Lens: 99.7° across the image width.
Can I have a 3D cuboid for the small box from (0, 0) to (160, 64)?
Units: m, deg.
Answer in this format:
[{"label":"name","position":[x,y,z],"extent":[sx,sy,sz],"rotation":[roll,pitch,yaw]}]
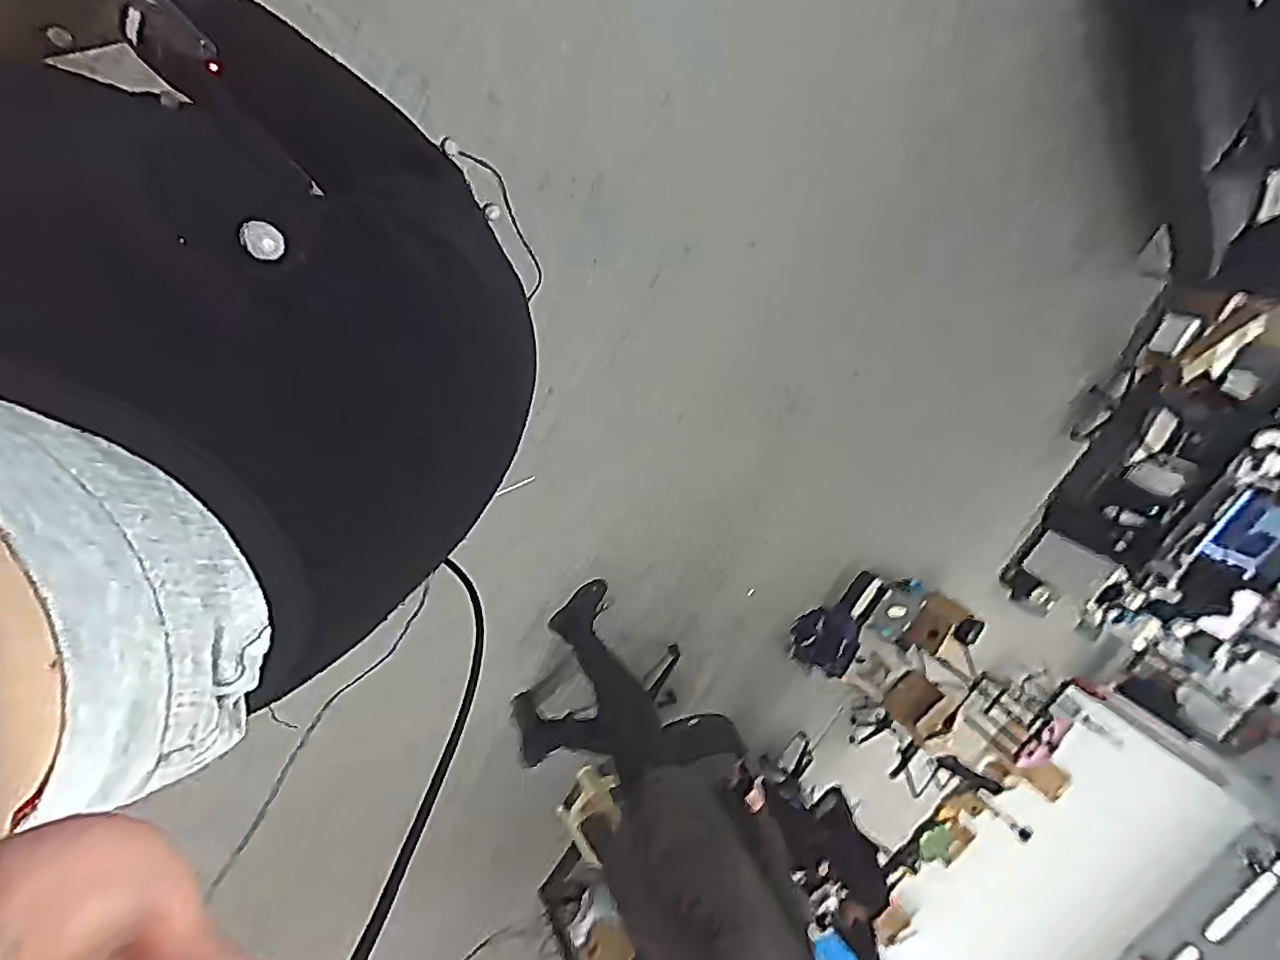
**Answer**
[{"label":"small box","position":[-0.533,-0.467,0.410],"extent":[0.168,0.176,0.179],"rotation":[-26,113,-14]}]
